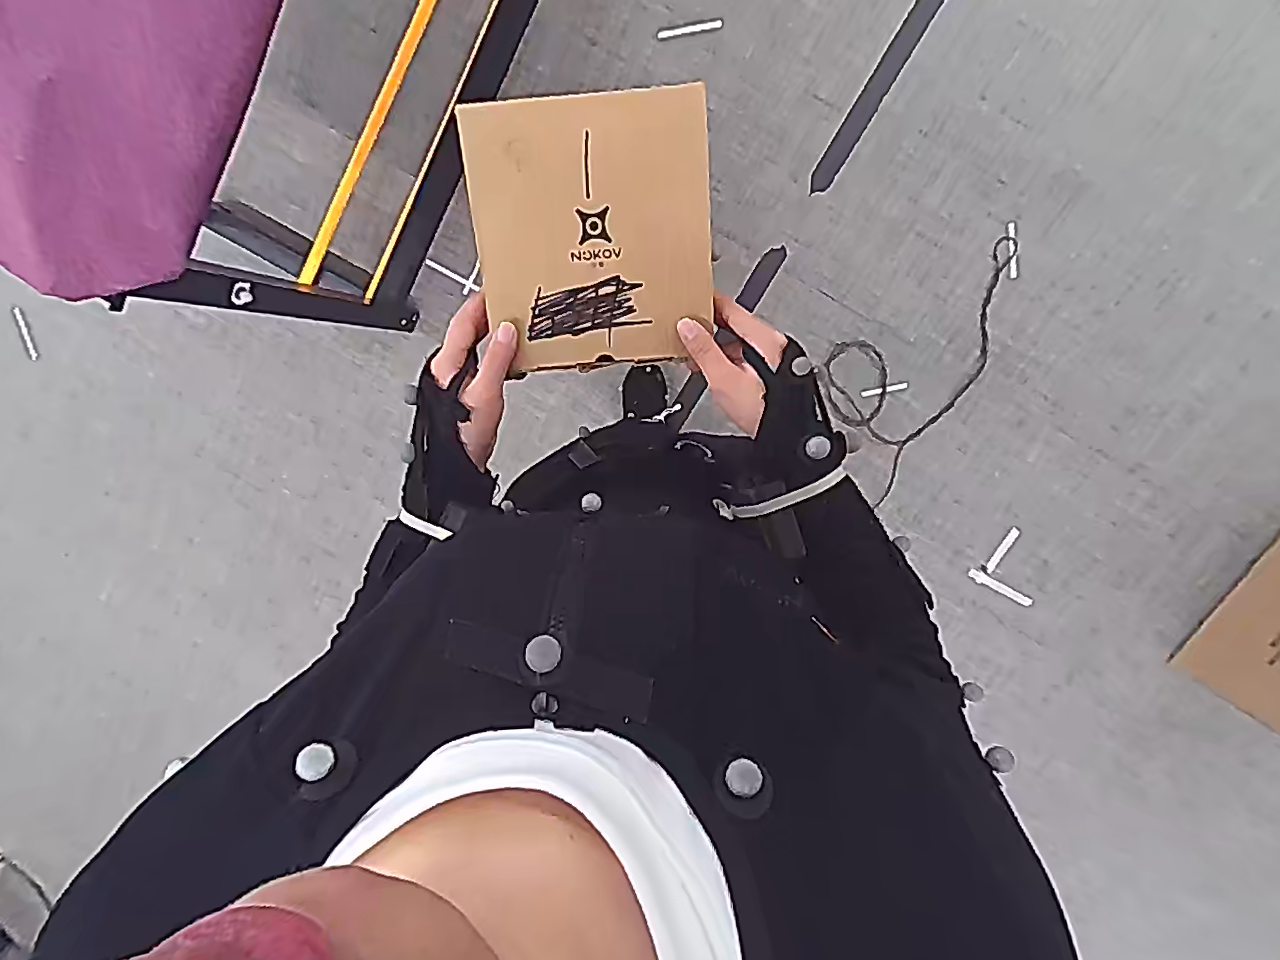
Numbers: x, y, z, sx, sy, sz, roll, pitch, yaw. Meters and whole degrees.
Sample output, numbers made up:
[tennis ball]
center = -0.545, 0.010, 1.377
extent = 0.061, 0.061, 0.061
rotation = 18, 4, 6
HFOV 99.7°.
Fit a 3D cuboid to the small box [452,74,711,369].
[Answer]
[small box]
center = -0.033, -0.192, 0.440
extent = 0.168, 0.176, 0.179
rotation = -4, 107, 0
